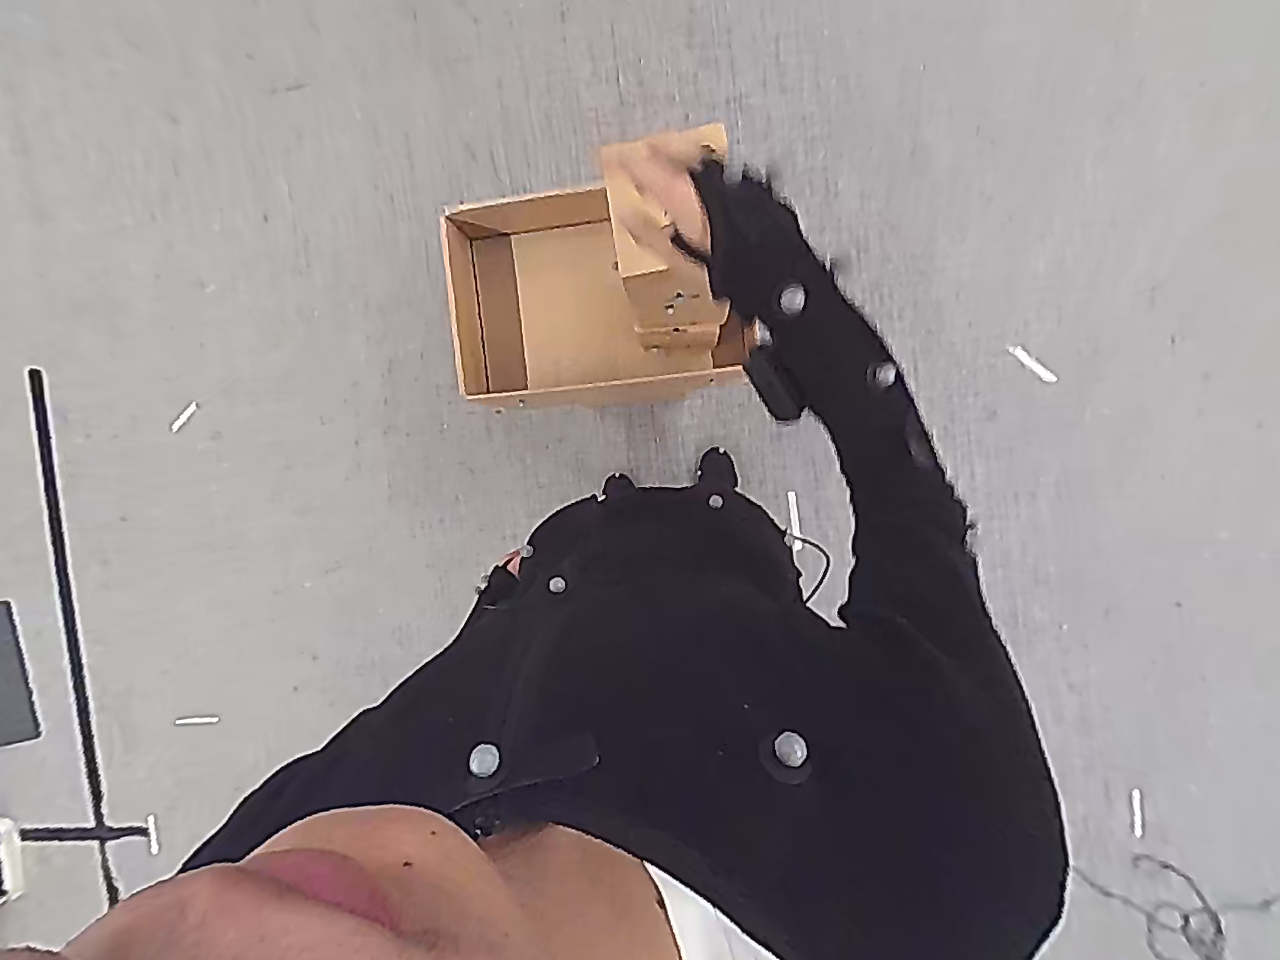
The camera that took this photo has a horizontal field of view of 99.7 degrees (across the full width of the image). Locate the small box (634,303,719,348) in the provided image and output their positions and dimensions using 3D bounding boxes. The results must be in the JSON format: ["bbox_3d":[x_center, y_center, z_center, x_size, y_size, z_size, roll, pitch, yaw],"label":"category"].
[{"bbox_3d":[0.080,-0.373,1.113,0.168,0.176,0.179,1,92,4],"label":"small box"}]

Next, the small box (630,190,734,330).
[{"bbox_3d":[0.073,-0.375,0.949,0.168,0.176,0.179,-2,91,5],"label":"small box"}]
